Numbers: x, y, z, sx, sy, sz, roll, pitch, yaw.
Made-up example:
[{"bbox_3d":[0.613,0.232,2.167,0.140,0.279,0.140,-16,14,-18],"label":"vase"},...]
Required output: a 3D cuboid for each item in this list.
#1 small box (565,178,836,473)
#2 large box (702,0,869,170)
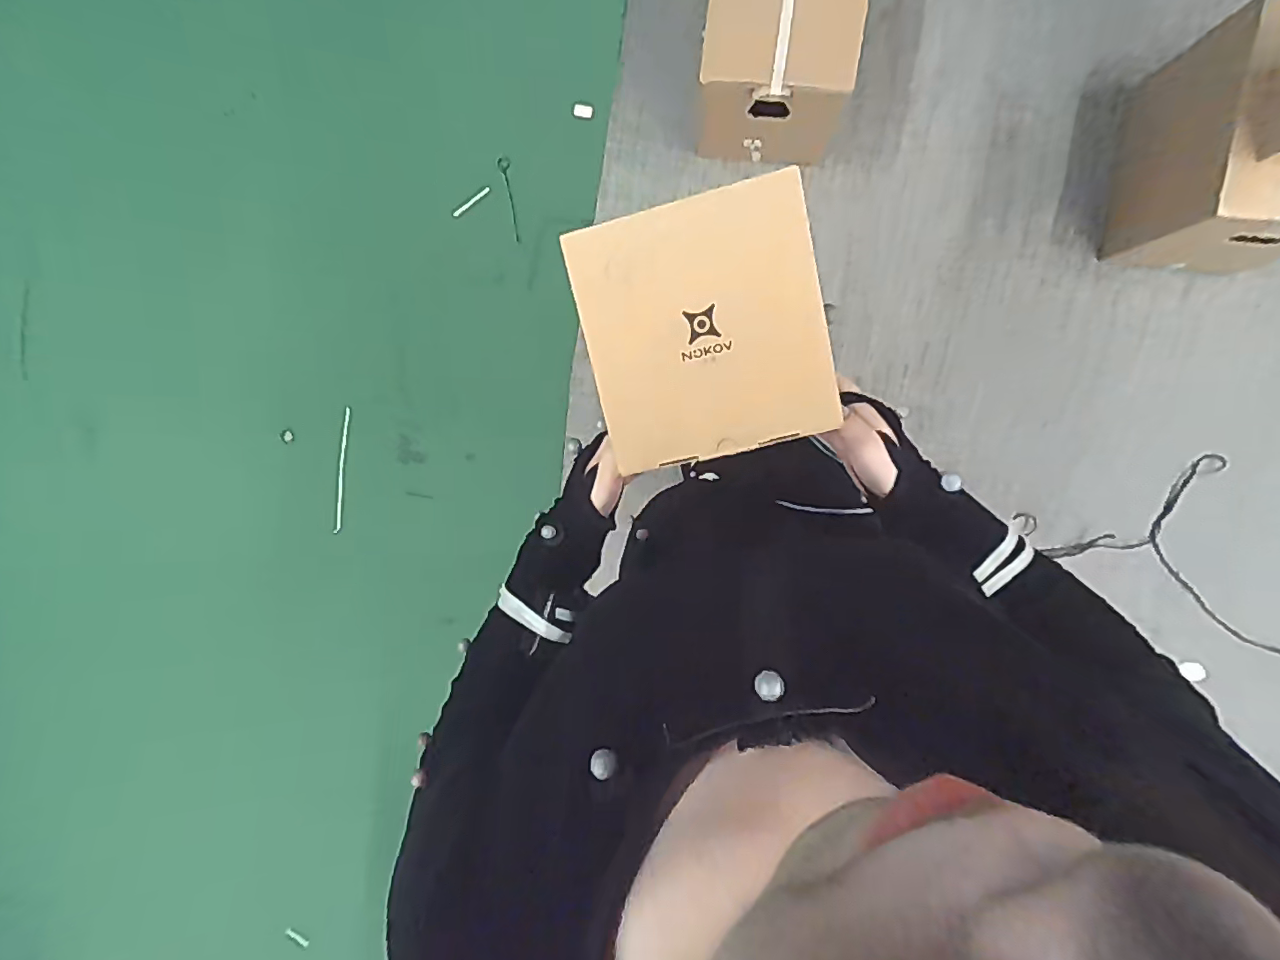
[{"bbox_3d":[0.051,-0.118,0.462,0.168,0.176,0.179,-13,99,9],"label":"small box"},{"bbox_3d":[0.322,-0.989,1.230,0.320,0.320,0.408,9,95,5],"label":"large box"}]
